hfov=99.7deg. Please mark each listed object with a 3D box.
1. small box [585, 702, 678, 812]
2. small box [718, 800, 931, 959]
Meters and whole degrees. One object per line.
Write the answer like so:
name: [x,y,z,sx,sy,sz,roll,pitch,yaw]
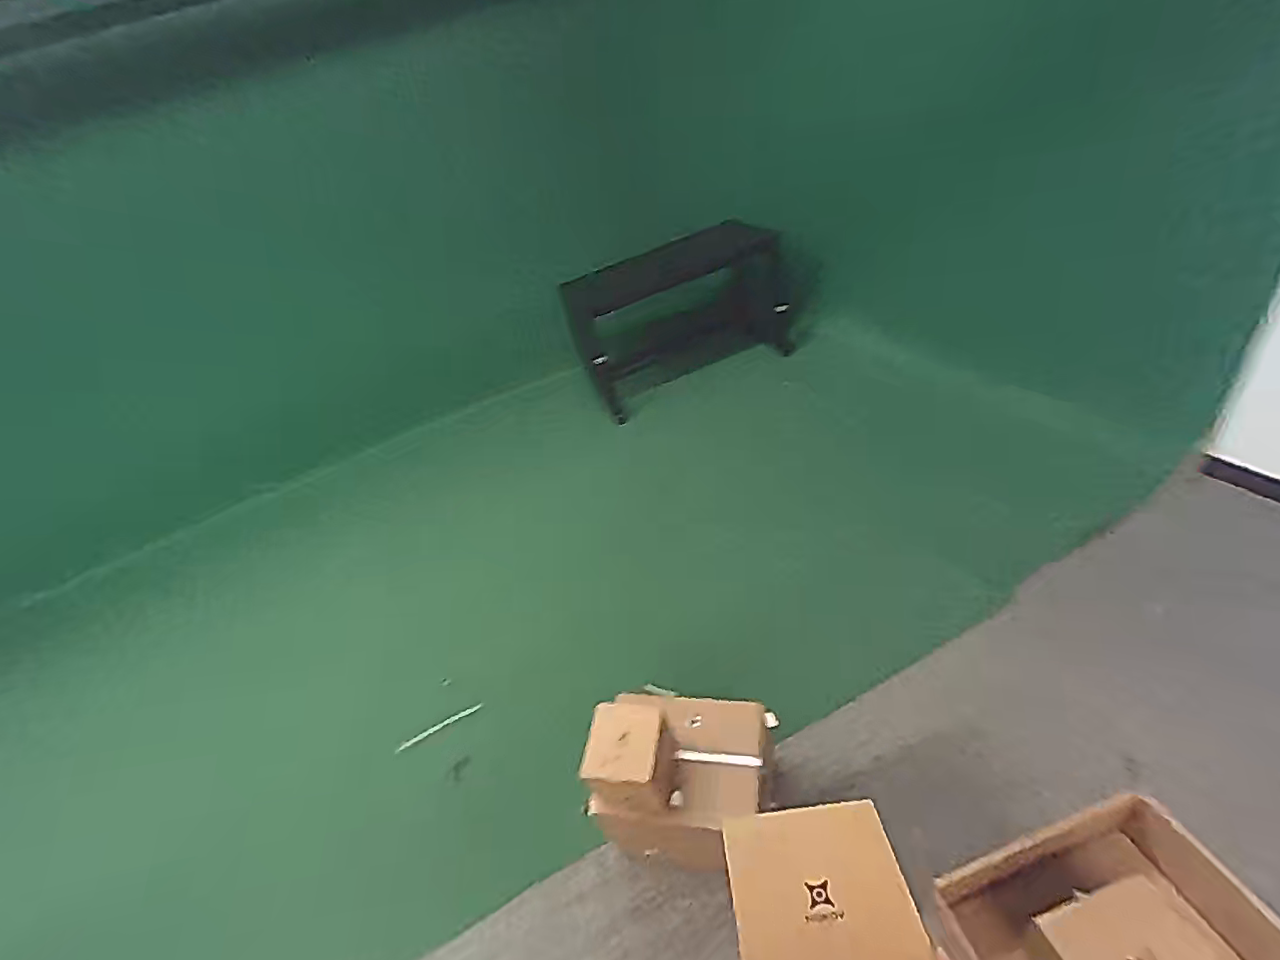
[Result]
small box: [-0.012,0.659,1.292,0.168,0.176,0.179,-4,40,18]
small box: [0.177,0.464,0.541,0.168,0.176,0.179,-10,27,3]
